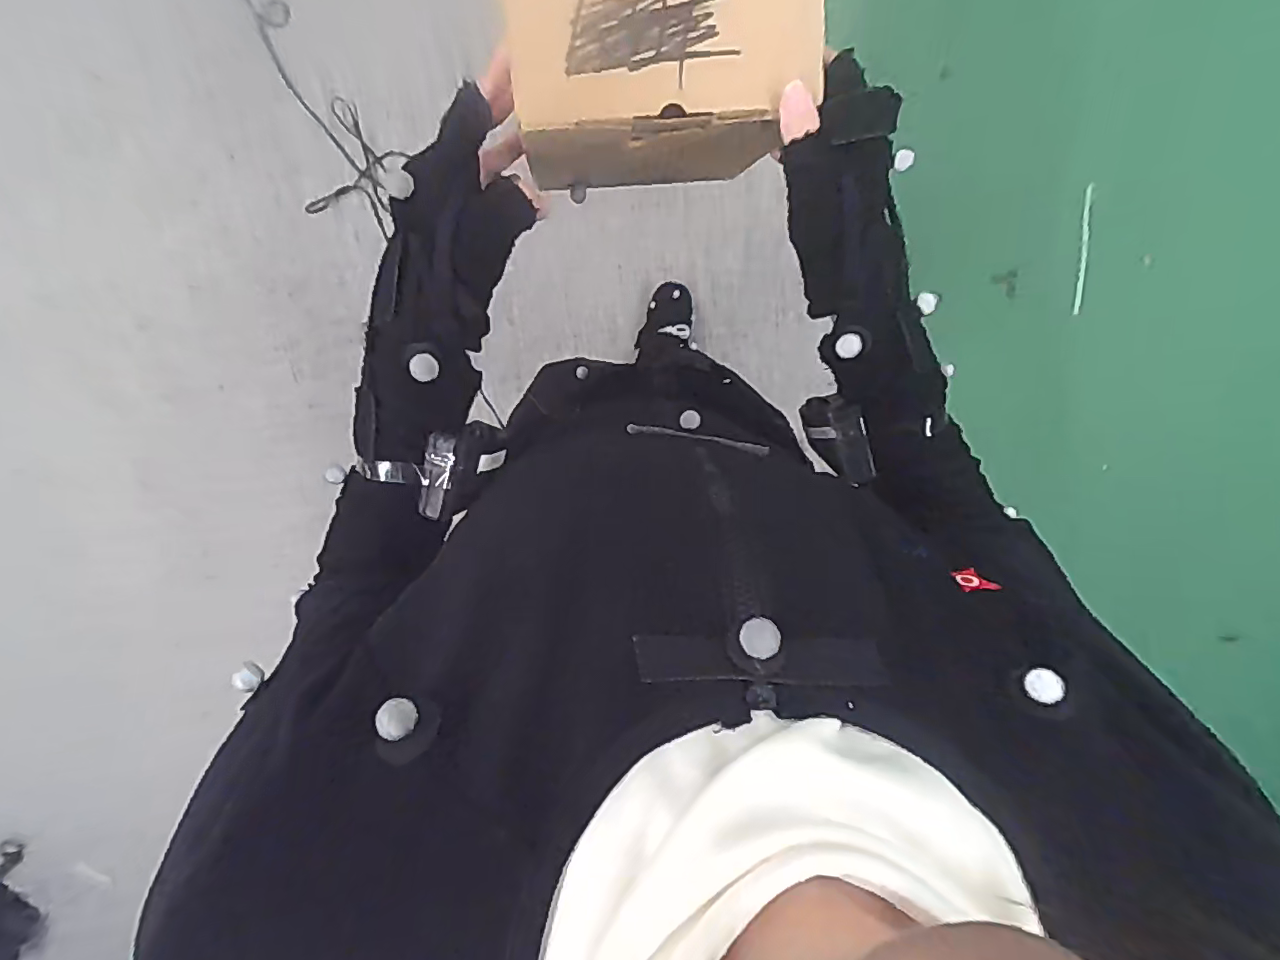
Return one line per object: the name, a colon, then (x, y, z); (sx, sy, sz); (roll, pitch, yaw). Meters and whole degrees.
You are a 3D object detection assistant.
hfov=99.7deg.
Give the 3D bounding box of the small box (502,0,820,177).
small box: (0.003, -0.304, 0.340); (0.168, 0.176, 0.179); (-6, 107, -4)
